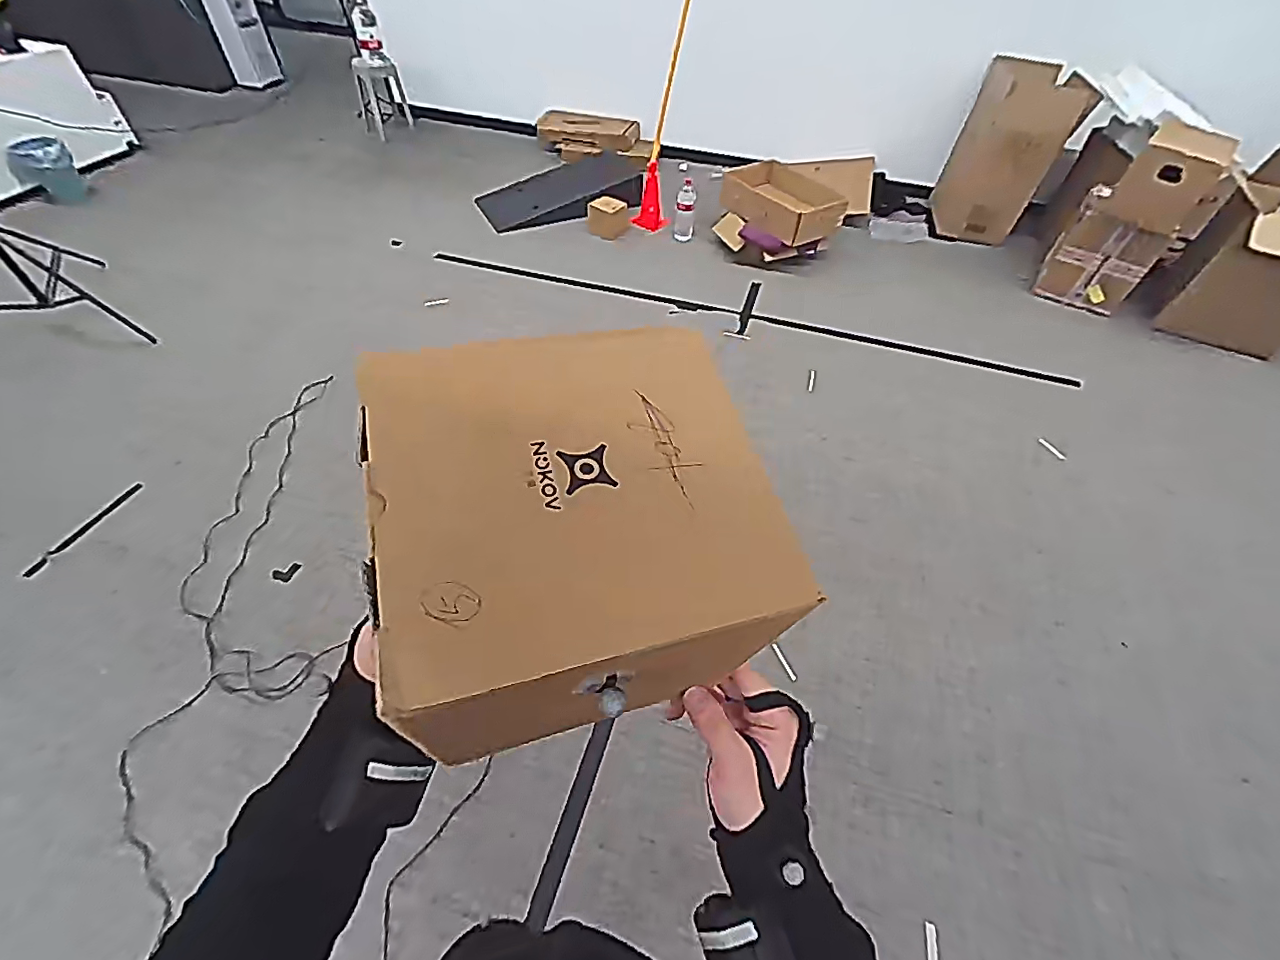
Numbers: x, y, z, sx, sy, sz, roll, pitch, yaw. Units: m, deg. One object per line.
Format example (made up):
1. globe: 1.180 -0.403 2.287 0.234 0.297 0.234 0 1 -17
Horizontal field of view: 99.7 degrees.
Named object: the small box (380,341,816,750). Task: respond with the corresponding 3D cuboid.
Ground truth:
1. small box: -0.037 0.043 0.319 0.179 0.176 0.168 -10 61 -18
